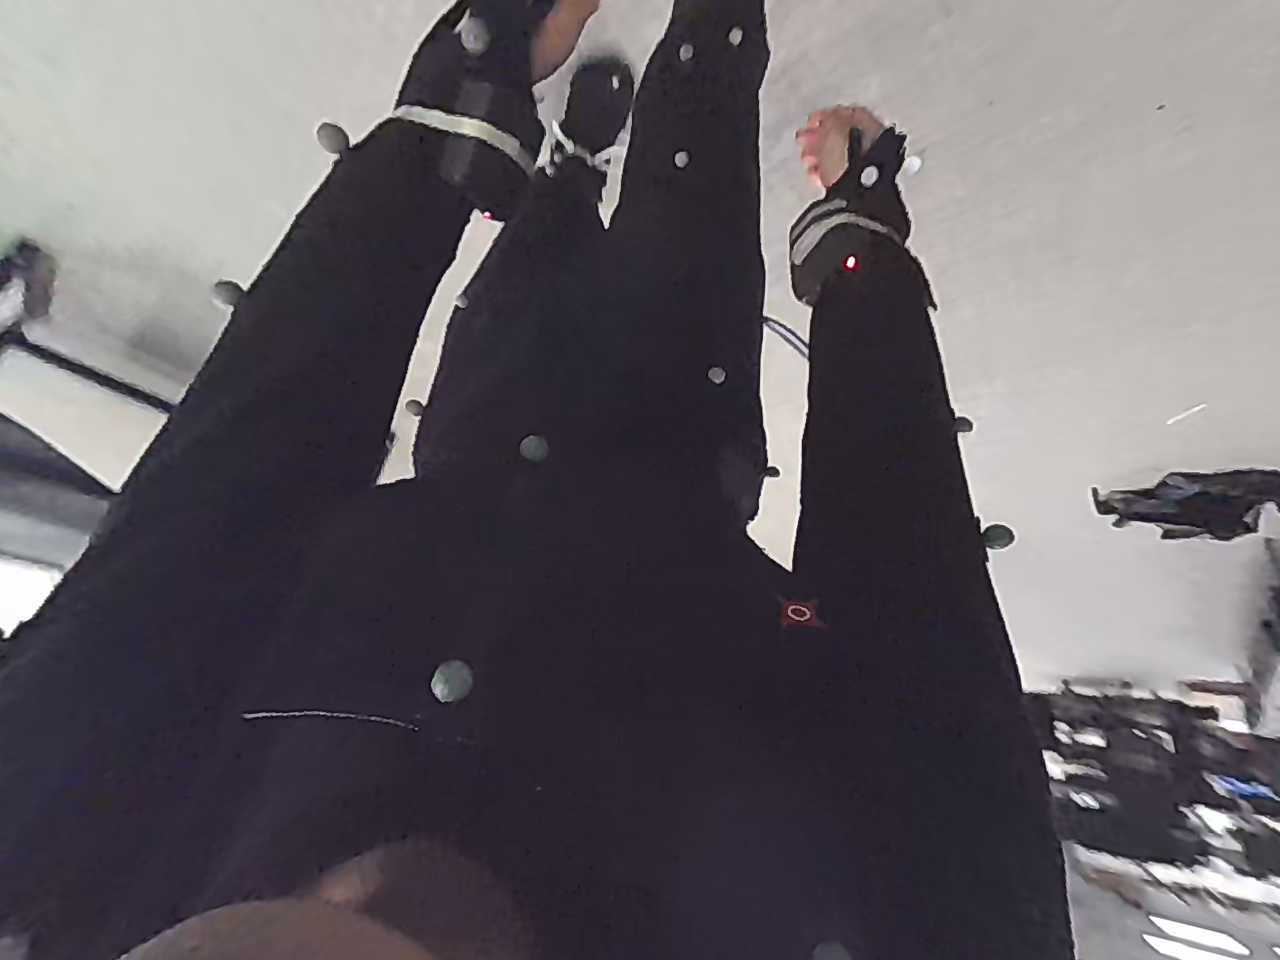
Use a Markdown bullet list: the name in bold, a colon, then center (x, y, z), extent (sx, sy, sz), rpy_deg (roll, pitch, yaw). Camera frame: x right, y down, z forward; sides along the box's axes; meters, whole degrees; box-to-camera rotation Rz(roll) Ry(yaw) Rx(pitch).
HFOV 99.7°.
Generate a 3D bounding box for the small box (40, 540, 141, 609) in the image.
- **small box**: center (-1.714, 0.298, 1.692), extent (0.179, 0.176, 0.168), rpy_deg (-13, 146, 39)
